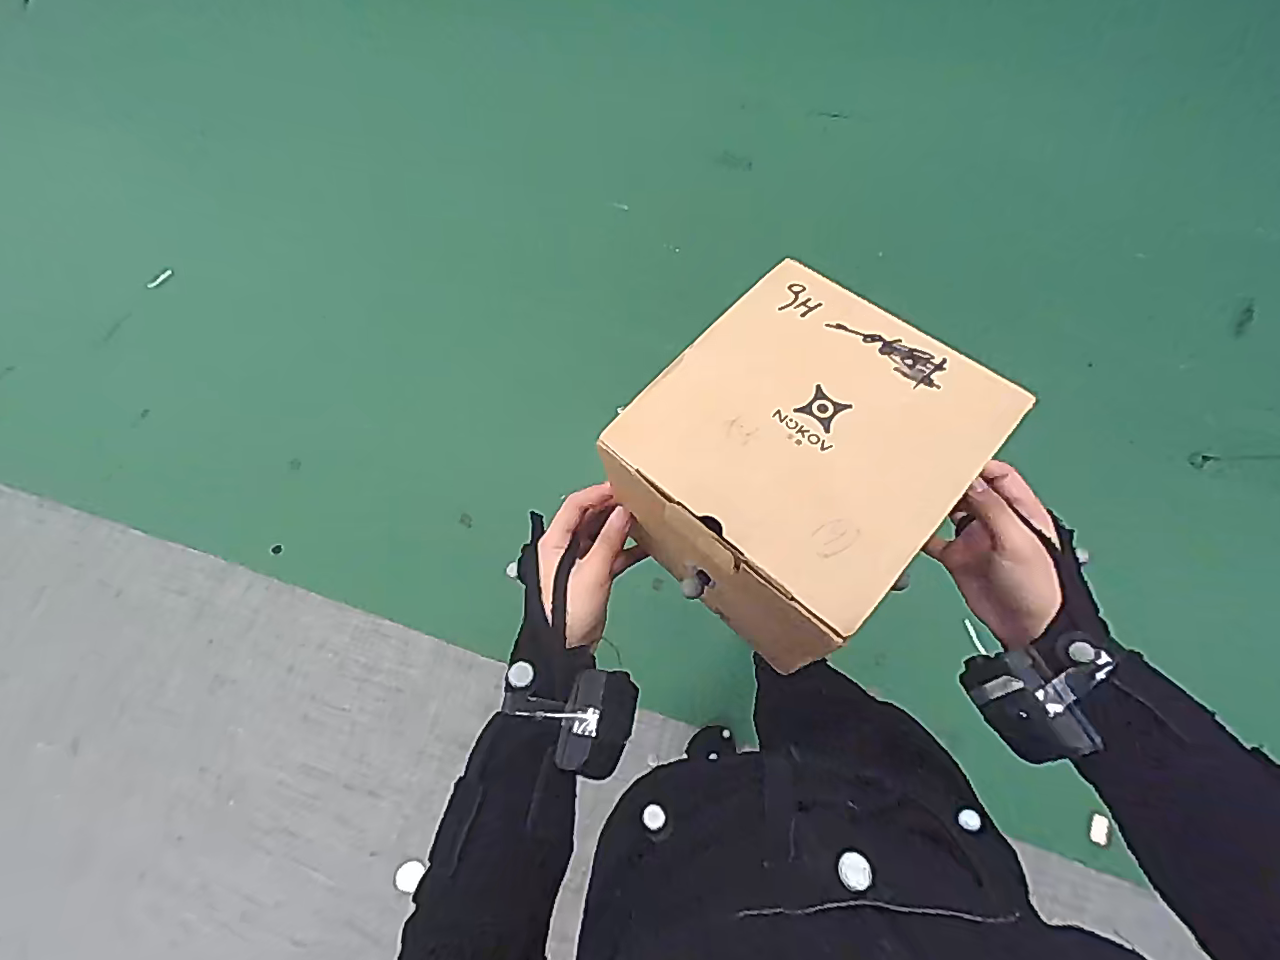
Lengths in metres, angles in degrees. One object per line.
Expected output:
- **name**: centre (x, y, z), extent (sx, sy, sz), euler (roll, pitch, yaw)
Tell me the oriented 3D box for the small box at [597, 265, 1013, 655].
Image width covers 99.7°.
- **small box**: centre (0.099, -0.001, 0.378), extent (0.168, 0.176, 0.179), euler (40, 76, 20)
